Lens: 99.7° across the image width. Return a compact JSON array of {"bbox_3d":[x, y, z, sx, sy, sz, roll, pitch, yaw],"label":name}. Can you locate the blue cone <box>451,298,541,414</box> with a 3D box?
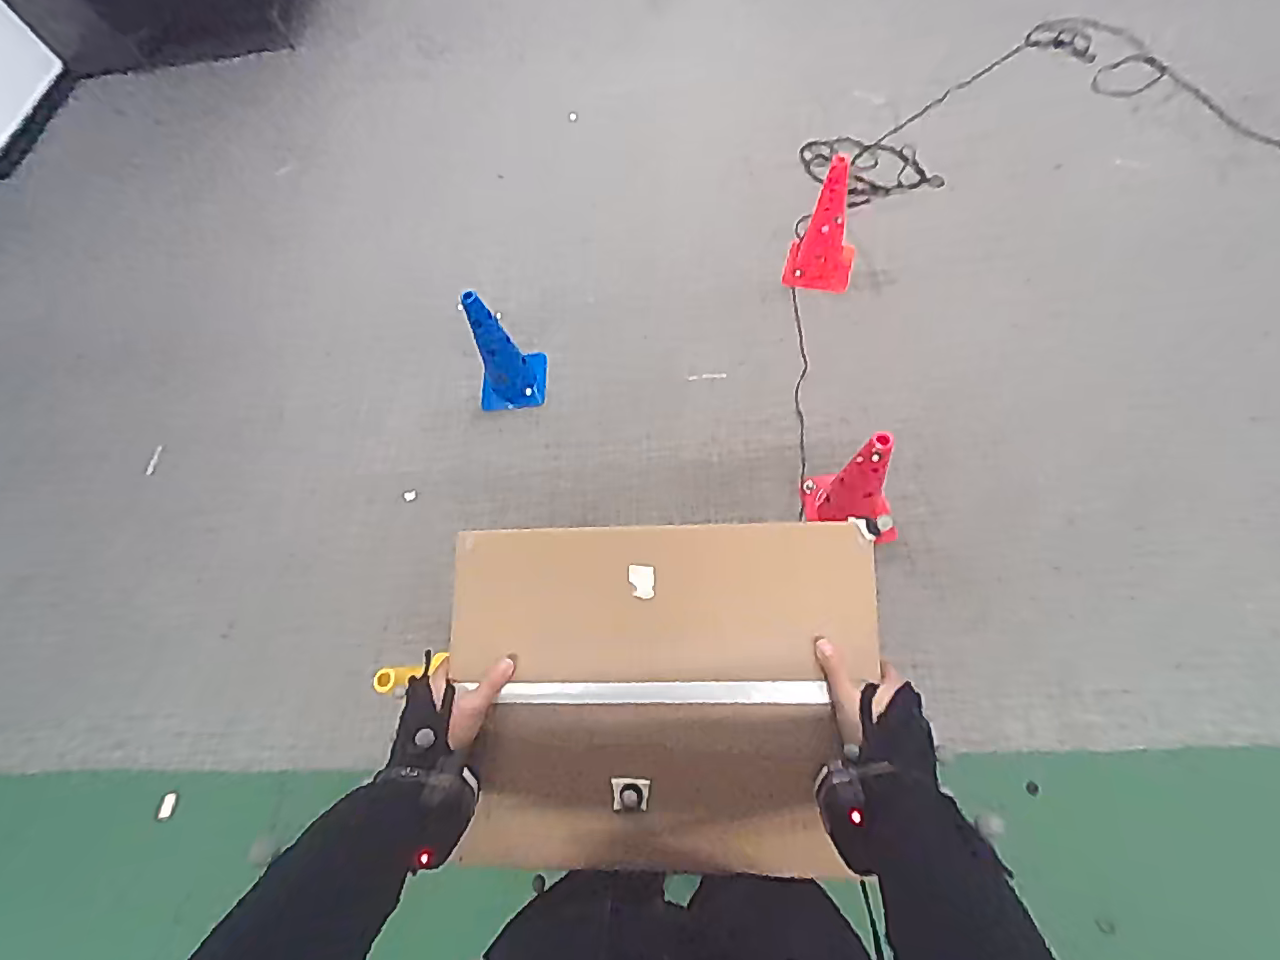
[{"bbox_3d":[-0.423,-0.365,1.523,0.192,0.380,0.193,-5,62,7],"label":"blue cone"}]

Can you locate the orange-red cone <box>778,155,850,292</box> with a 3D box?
[{"bbox_3d":[0.529,-0.752,1.553,0.199,0.360,0.198,14,67,14],"label":"orange-red cone"}]

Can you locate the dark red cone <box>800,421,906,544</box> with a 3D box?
[{"bbox_3d":[0.486,-0.015,1.162,0.202,0.394,0.201,-11,65,3],"label":"dark red cone"}]
